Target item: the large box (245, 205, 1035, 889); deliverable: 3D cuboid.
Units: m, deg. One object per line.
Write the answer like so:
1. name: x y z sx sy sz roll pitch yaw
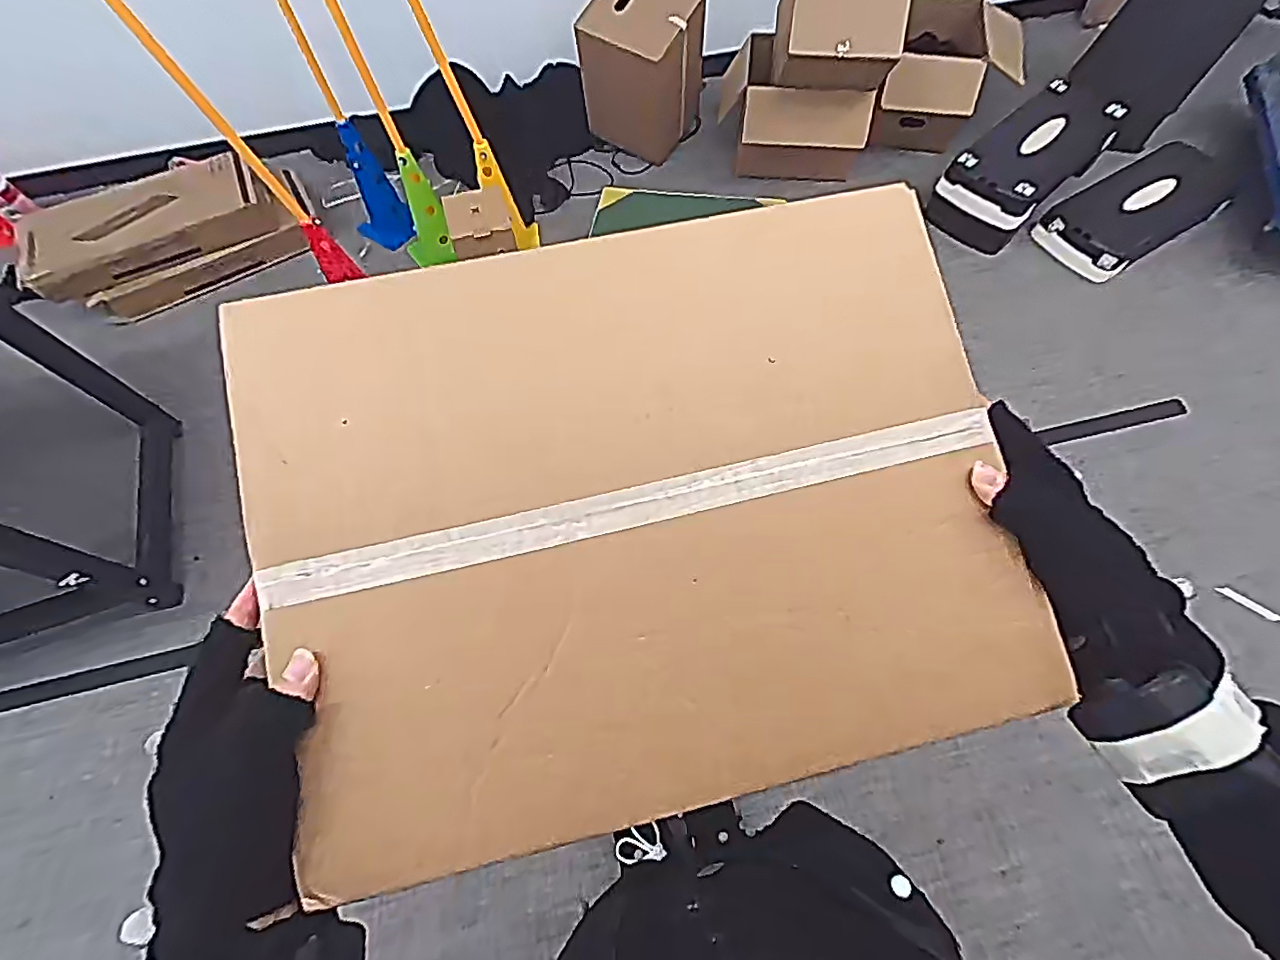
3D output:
1. large box: -0.007 0.035 0.453 0.408 0.320 0.320 -12 82 -5
